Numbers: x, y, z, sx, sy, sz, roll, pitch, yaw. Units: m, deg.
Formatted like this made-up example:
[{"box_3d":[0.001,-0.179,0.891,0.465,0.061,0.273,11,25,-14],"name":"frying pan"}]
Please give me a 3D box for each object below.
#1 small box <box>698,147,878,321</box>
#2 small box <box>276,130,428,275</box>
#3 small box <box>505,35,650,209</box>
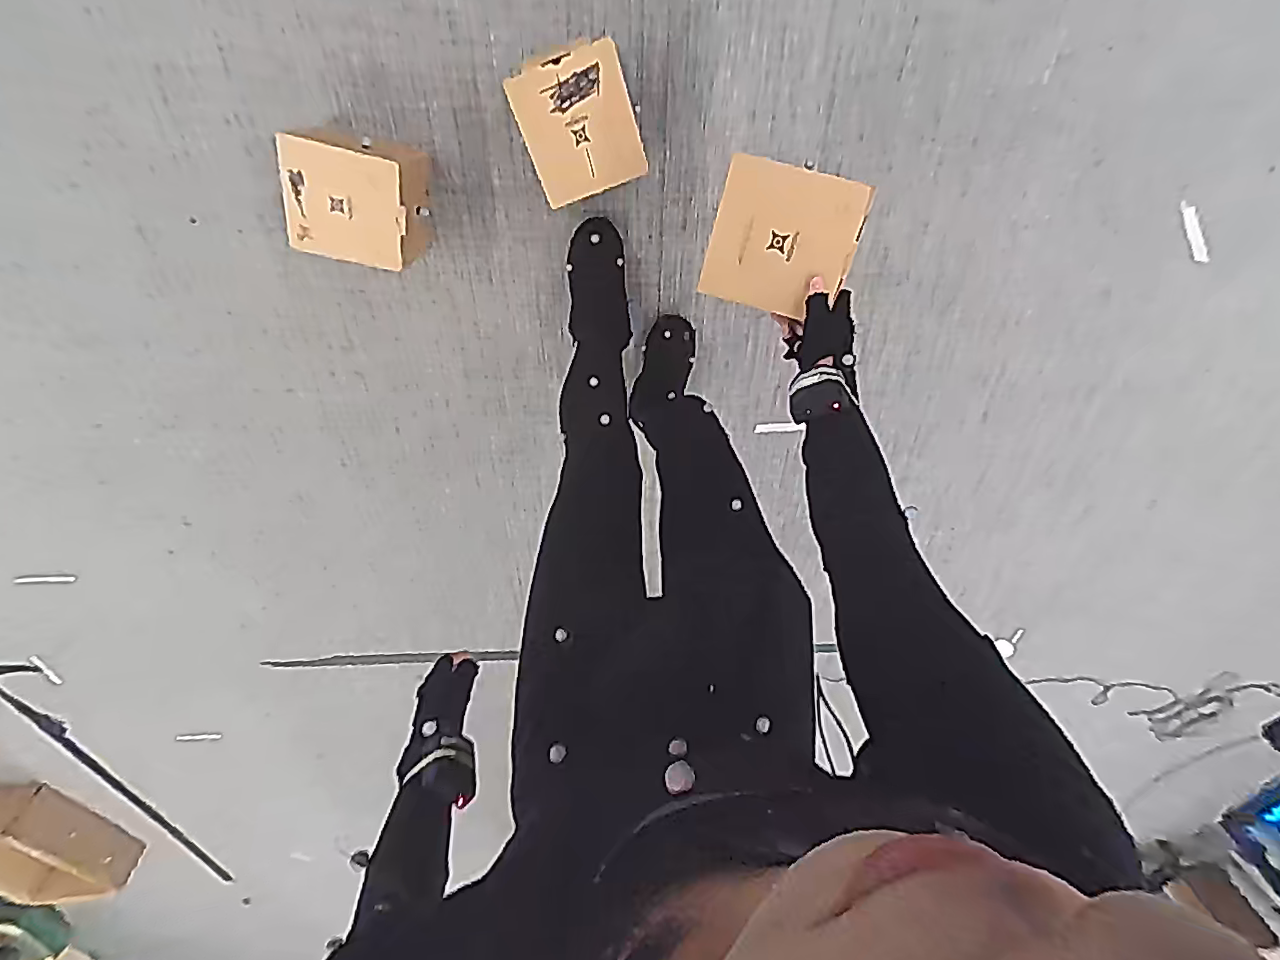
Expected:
[{"box_3d":[0.191,-0.329,0.732,0.179,0.176,0.168,17,116,6],"name":"small box"},{"box_3d":[-0.458,-0.462,0.892,0.179,0.176,0.168,9,124,-11],"name":"small box"},{"box_3d":[-0.092,-0.555,0.848,0.168,0.176,0.179,-17,126,8],"name":"small box"}]
